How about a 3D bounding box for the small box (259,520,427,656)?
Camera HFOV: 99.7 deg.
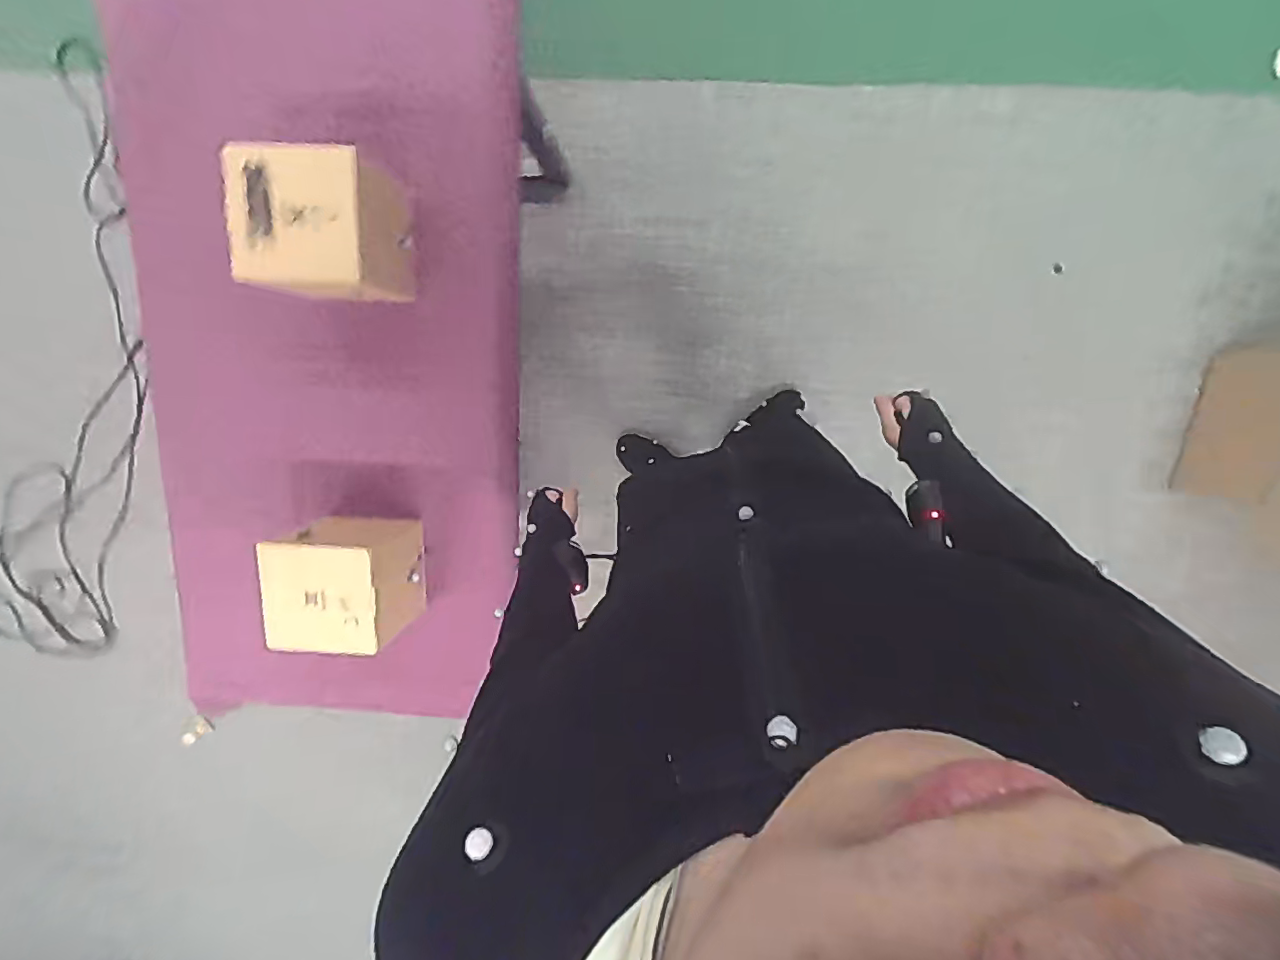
[{"bbox_3d":[-0.469,0.165,0.877,0.179,0.176,0.168,2,100,4],"label":"small box"}]
